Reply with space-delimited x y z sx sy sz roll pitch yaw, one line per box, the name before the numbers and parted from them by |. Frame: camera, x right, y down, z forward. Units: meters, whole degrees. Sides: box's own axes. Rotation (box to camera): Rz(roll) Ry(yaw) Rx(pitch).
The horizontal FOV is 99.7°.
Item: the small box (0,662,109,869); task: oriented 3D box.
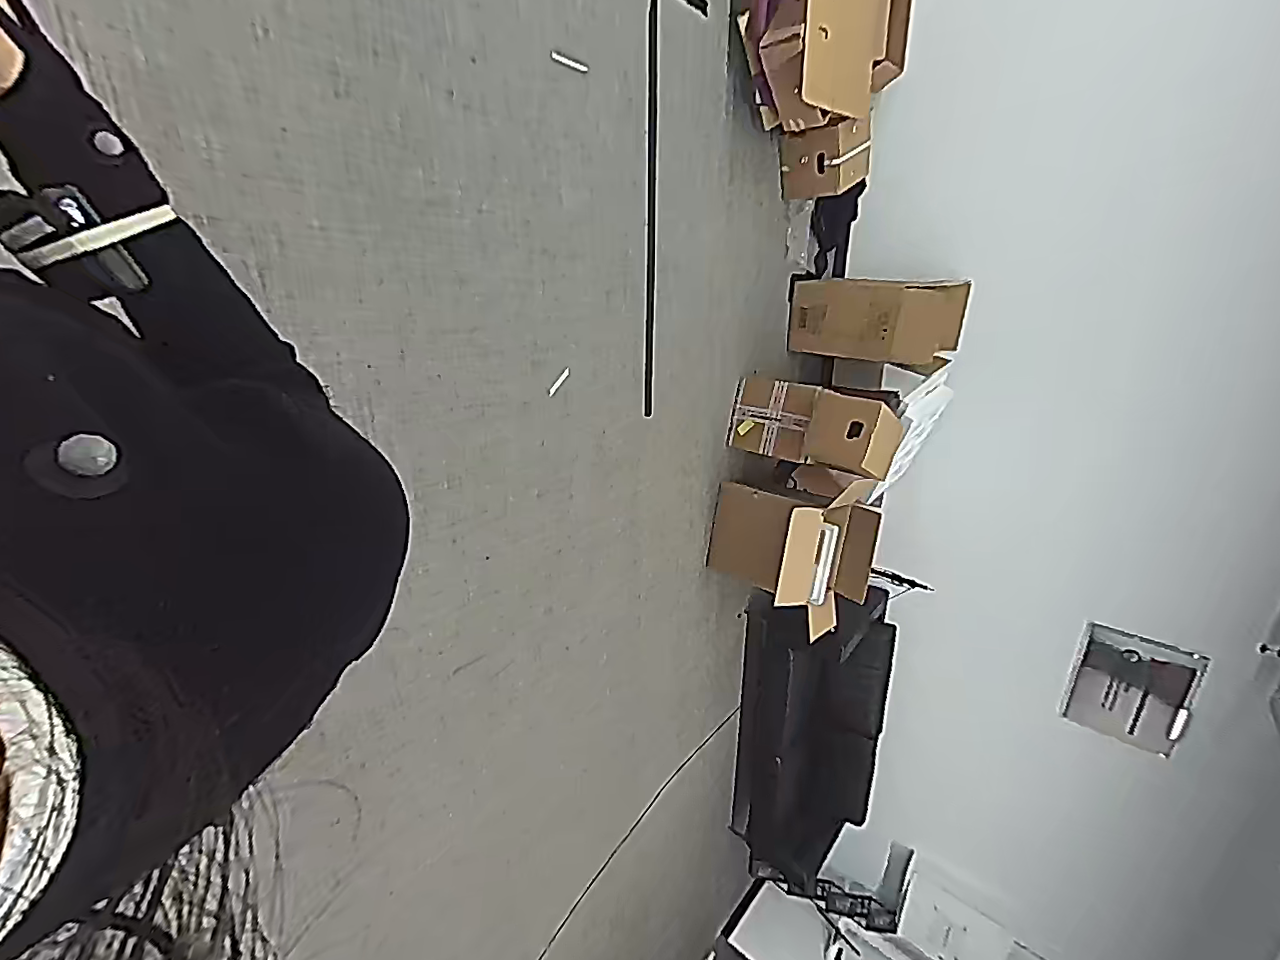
small box | -0.813 0.366 0.689 0.168 0.176 0.179 -12 110 -51
